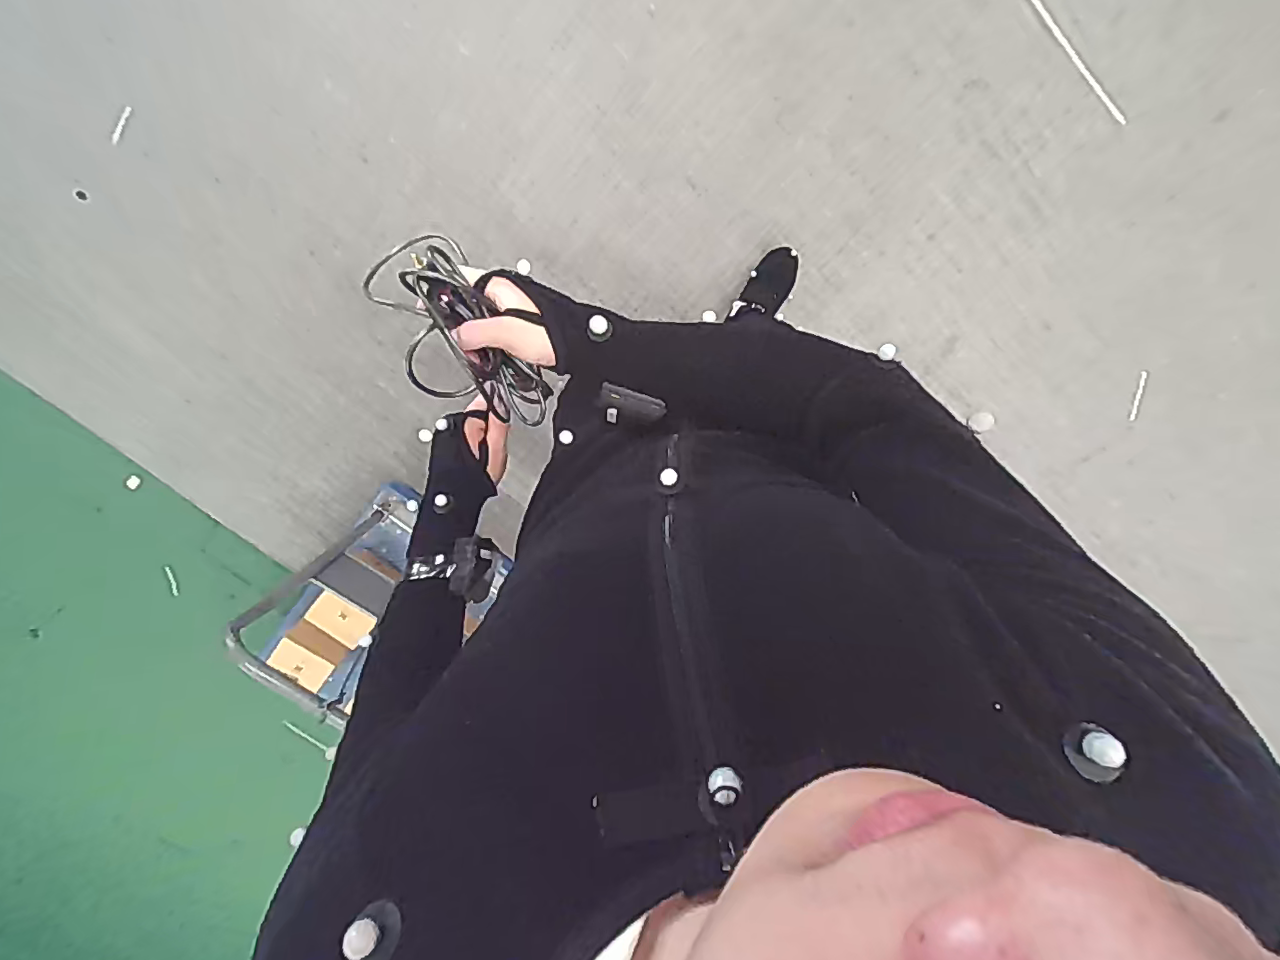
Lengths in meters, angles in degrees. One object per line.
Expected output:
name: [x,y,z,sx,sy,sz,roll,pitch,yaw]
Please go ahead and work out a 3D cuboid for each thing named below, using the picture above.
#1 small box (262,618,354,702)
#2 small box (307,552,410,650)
small box: [-0.980,0.522,1.633,0.168,0.176,0.179,37,107,-12]
small box: [-0.801,0.344,1.558,0.168,0.176,0.179,41,107,-12]
